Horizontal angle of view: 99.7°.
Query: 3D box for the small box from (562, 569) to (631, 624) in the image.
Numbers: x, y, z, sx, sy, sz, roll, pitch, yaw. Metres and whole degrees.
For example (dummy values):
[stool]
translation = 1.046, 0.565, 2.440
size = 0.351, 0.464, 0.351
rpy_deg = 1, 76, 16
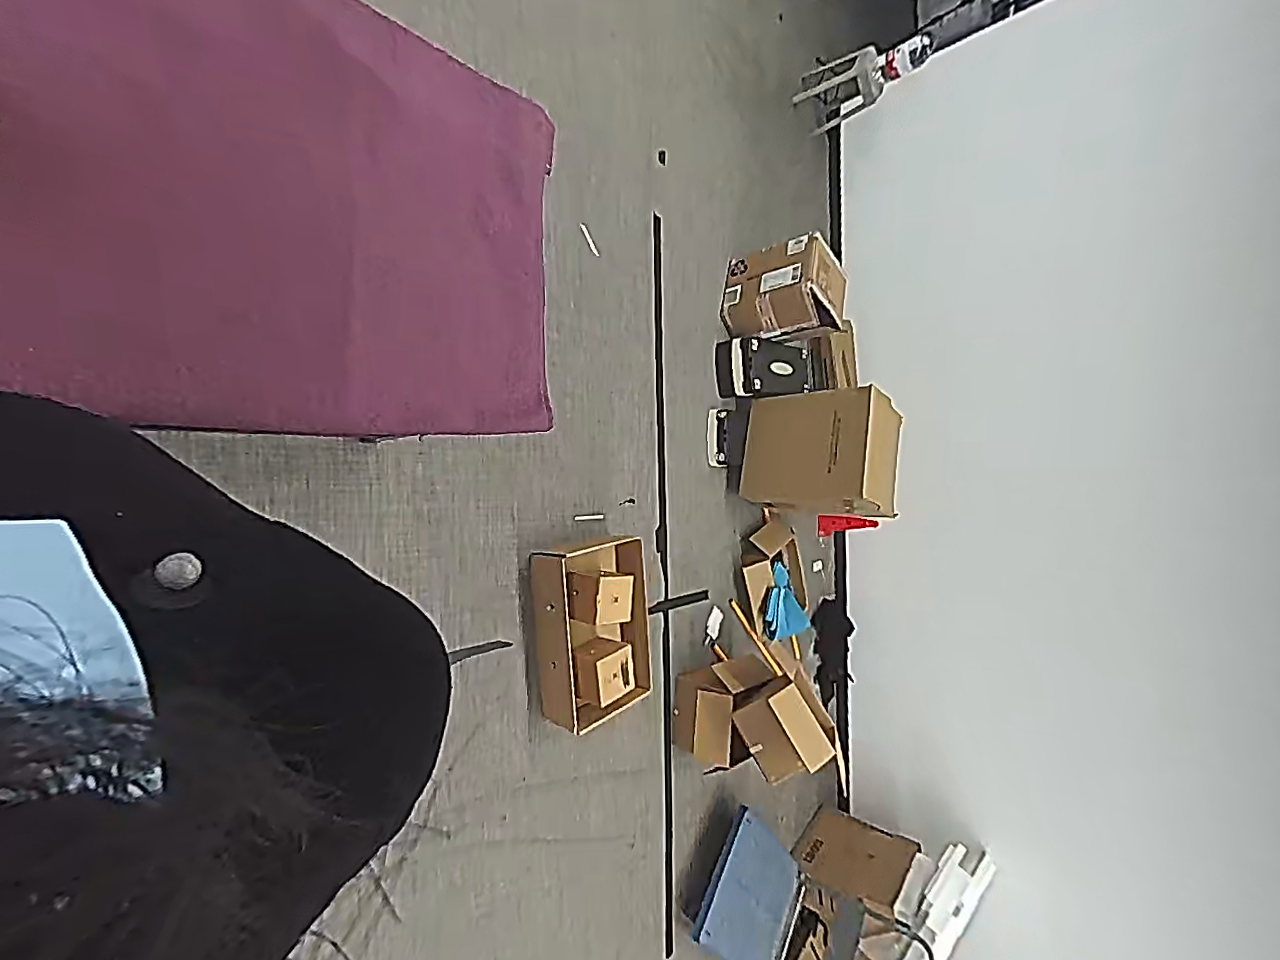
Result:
[small box]
translation = -0.155, 0.414, 1.950
size = 0.179, 0.176, 0.168
rpy_deg = 8, 85, -48
